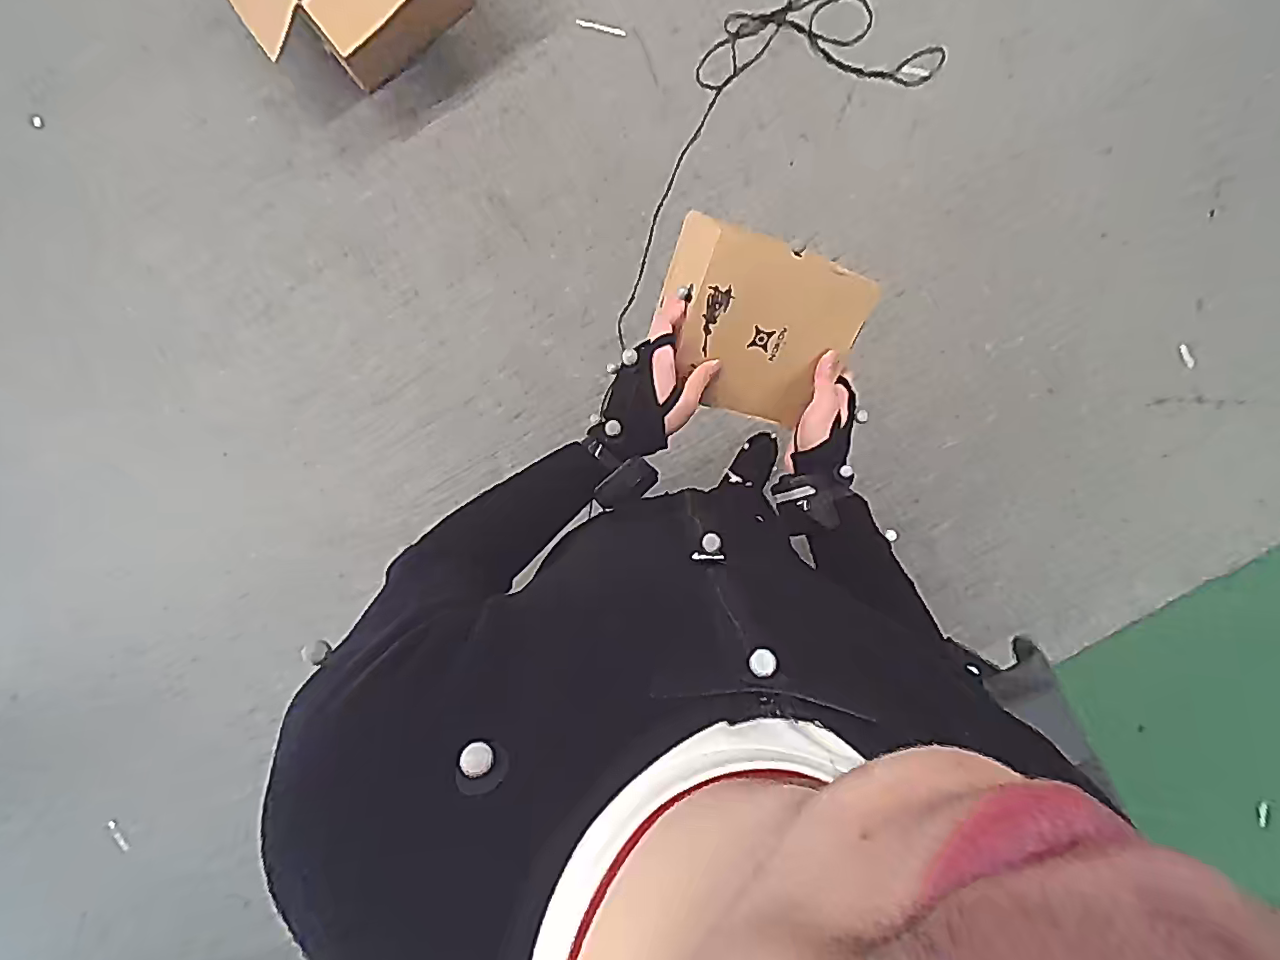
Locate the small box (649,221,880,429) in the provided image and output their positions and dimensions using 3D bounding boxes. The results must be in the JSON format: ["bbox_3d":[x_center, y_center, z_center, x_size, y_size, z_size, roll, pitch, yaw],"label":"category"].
[{"bbox_3d":[0.123,-0.181,0.613,0.179,0.176,0.168,12,118,-14],"label":"small box"}]
